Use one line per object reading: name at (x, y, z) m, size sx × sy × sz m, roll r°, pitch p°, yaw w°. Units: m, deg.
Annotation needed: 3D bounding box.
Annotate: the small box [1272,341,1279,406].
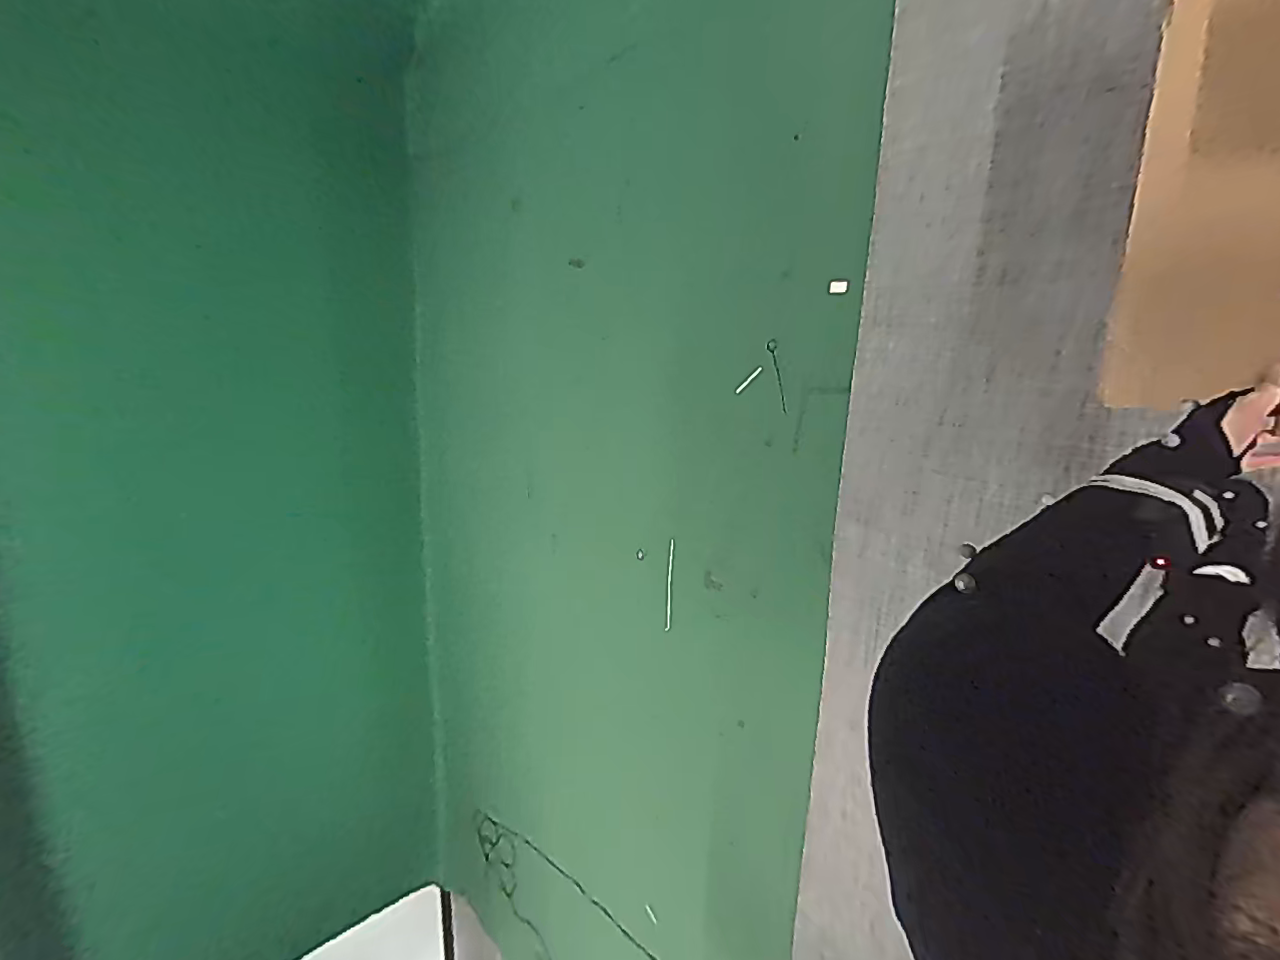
small box at (0.636, -0.147, 0.420) m, size 0.168 × 0.176 × 0.179 m, roll 14°, pitch 78°, yaw 48°
